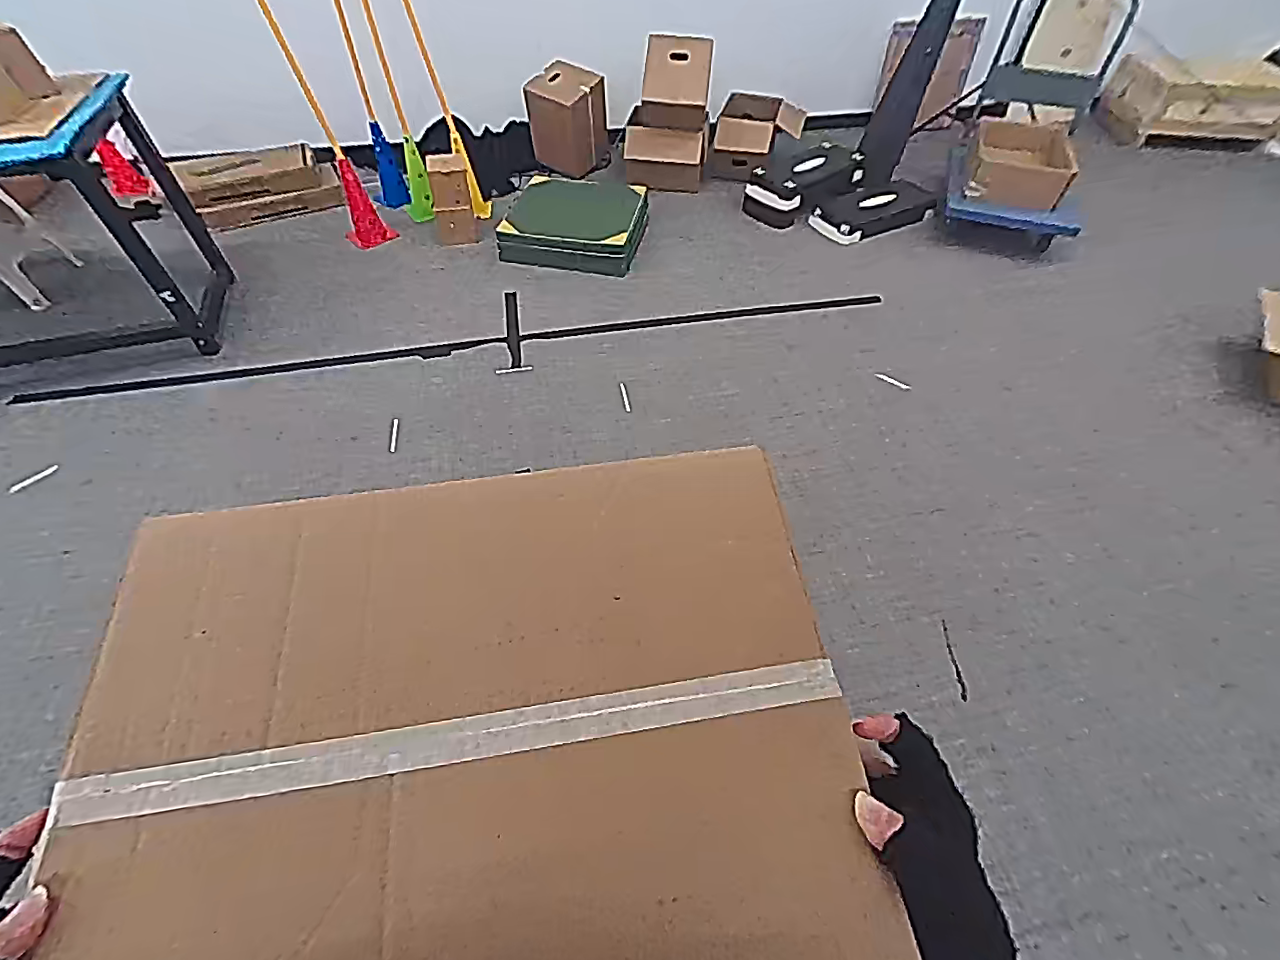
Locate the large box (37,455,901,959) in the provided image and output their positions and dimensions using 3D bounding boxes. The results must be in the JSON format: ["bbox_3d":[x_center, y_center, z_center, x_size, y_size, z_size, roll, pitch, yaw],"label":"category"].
[{"bbox_3d":[-0.093,0.210,0.430,0.408,0.320,0.320,-7,61,-5],"label":"large box"}]
